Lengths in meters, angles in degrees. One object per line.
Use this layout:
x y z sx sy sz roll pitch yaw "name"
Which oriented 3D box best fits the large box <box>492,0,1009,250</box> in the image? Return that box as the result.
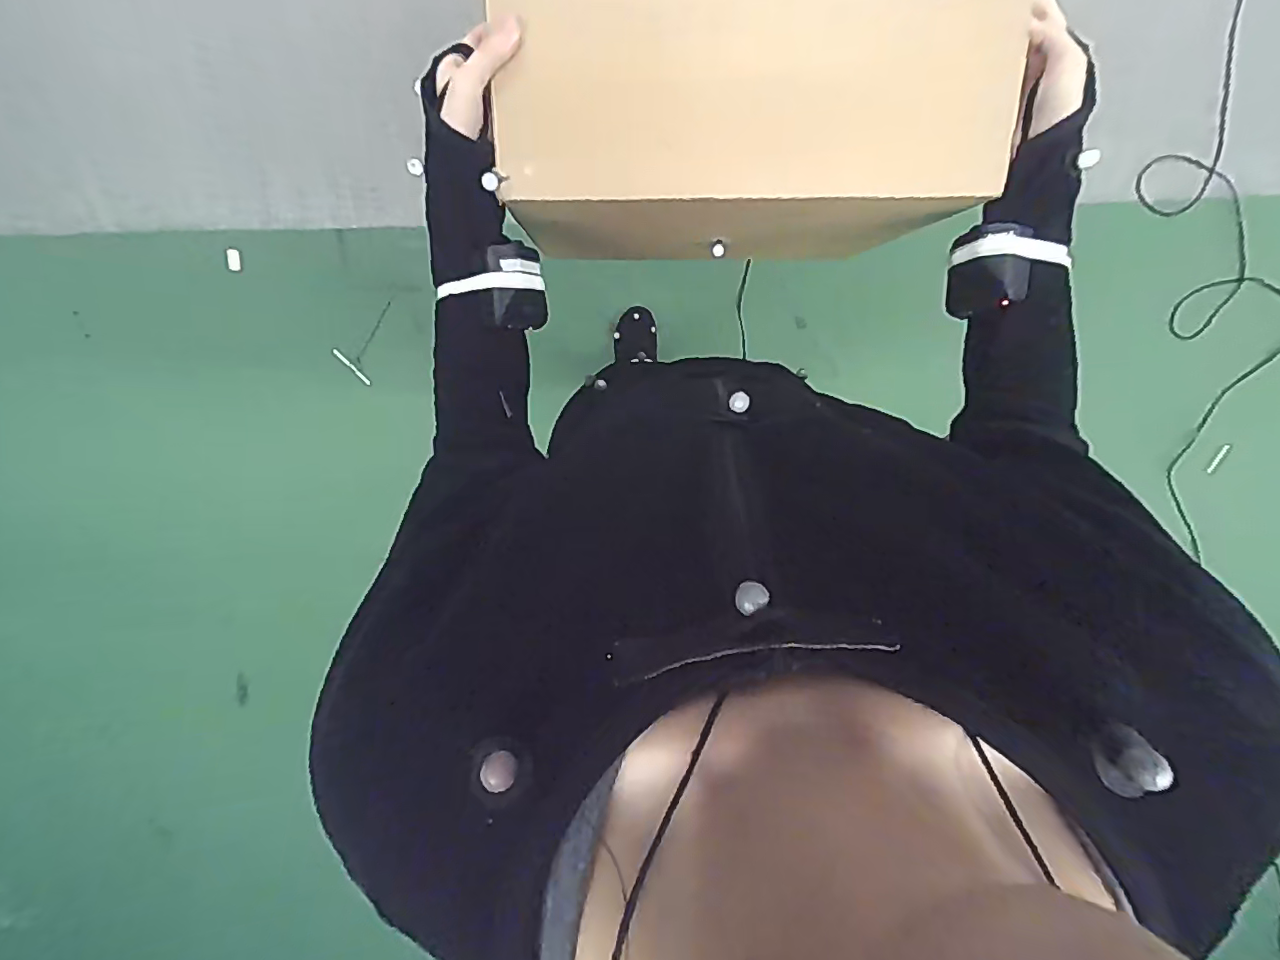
0.084 -0.423 0.549 0.408 0.320 0.320 -1 104 -1 "large box"
